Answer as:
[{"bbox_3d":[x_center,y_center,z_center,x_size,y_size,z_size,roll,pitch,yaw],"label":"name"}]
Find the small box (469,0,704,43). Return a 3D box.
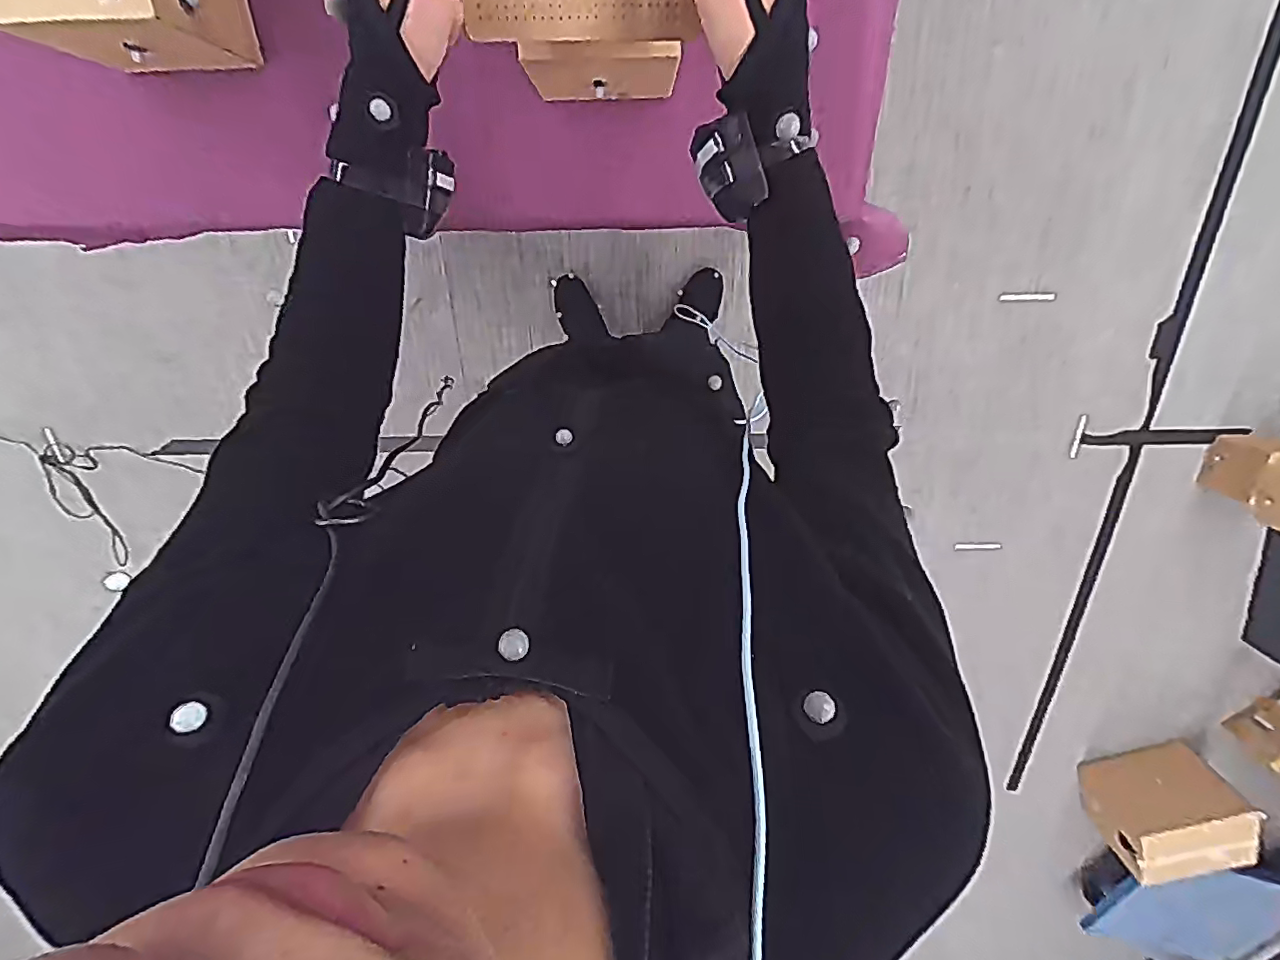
[{"bbox_3d":[-0.041,-0.438,0.402,0.179,0.168,0.176,-1,133,-2],"label":"small box"}]

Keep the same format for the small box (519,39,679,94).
[{"bbox_3d":[-0.041,-0.539,0.587,0.168,0.176,0.179,-1,114,-1],"label":"small box"}]
